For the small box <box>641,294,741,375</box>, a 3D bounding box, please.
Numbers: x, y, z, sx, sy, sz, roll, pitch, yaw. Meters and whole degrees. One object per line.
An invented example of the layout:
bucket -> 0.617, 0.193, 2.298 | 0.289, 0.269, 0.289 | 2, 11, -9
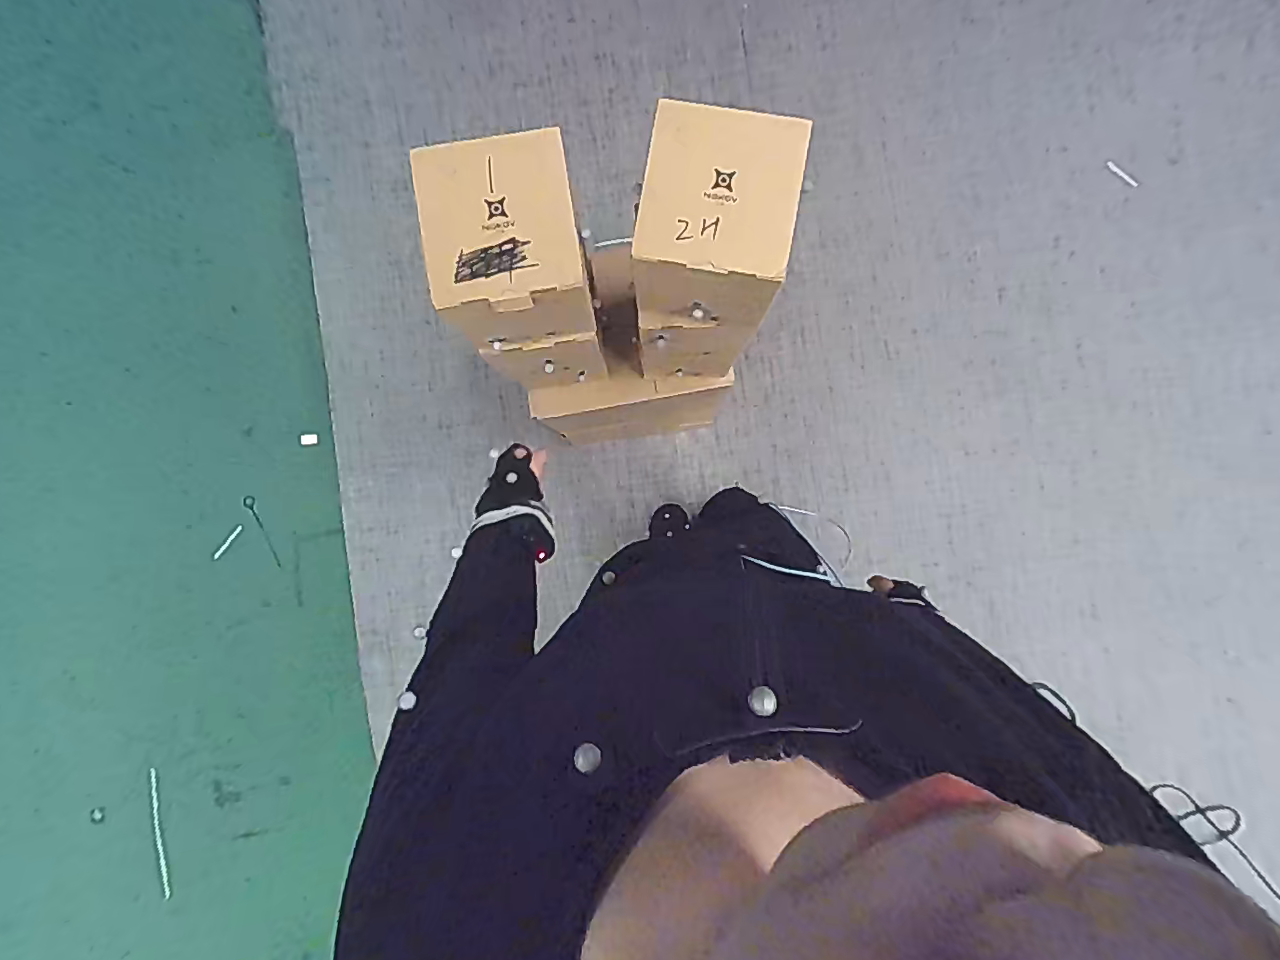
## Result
small box -> 0.085, -0.296, 0.972 | 0.168, 0.176, 0.179 | -2, 89, 3

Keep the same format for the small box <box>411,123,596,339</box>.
small box -> -0.151, -0.281, 0.653 | 0.168, 0.176, 0.179 | -9, 88, 0

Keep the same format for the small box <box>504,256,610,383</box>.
small box -> -0.149, -0.278, 0.981 | 0.168, 0.176, 0.179 | -7, 89, 0

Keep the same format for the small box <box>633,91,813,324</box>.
small box -> 0.089, -0.307, 0.642 | 0.168, 0.176, 0.179 | 10, 89, 3
